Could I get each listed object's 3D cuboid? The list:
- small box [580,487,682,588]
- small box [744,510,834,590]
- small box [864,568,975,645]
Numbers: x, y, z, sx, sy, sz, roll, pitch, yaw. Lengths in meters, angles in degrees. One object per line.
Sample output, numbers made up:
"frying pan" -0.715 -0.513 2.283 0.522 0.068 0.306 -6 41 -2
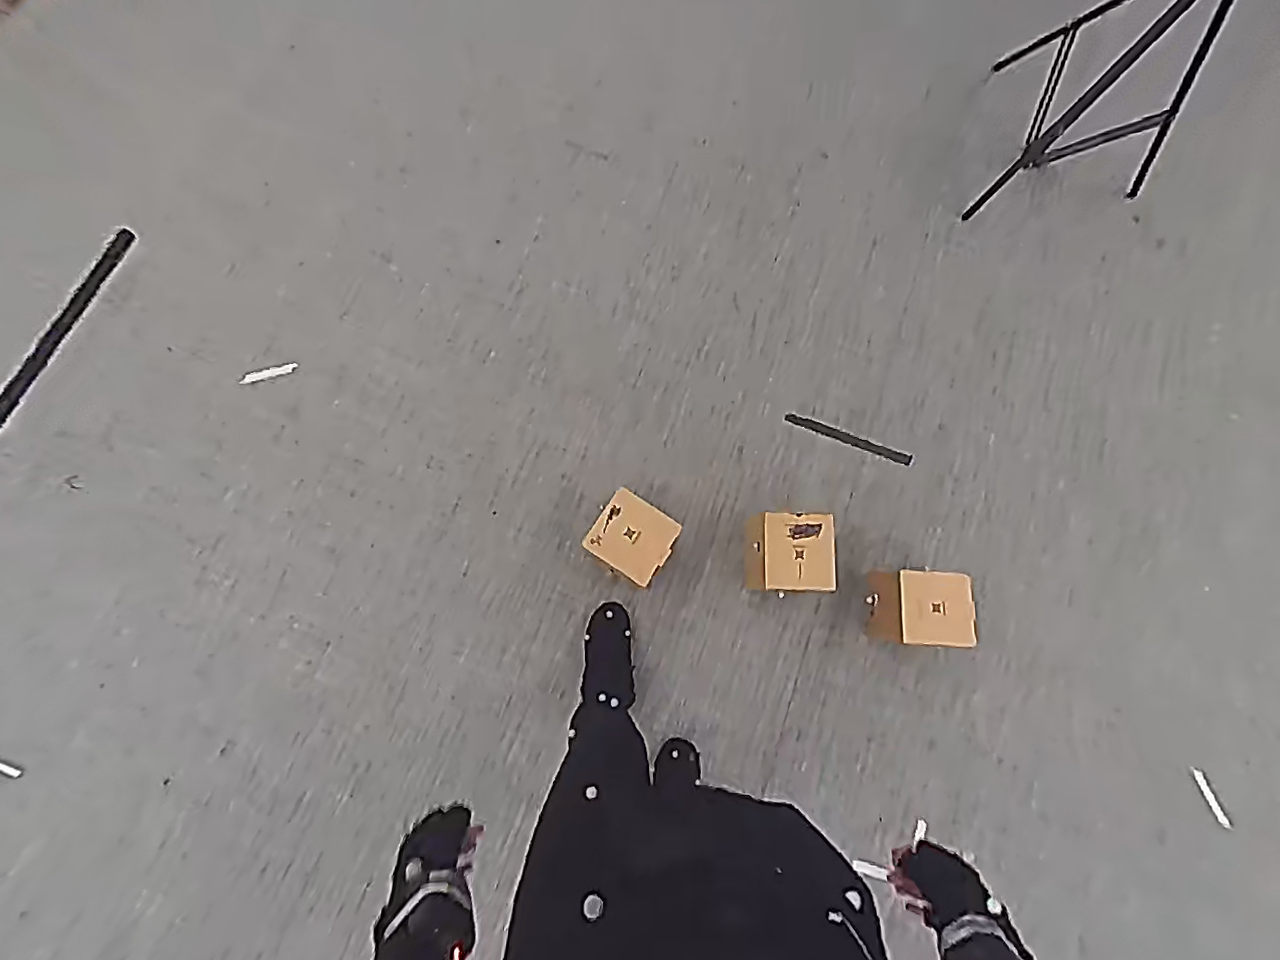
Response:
"small box" -0.025 0.141 1.293 0.179 0.176 0.168 34 77 3
"small box" 0.354 0.175 1.311 0.168 0.176 0.179 2 78 -4
"small box" 0.669 0.304 1.309 0.179 0.176 0.168 3 77 -3
